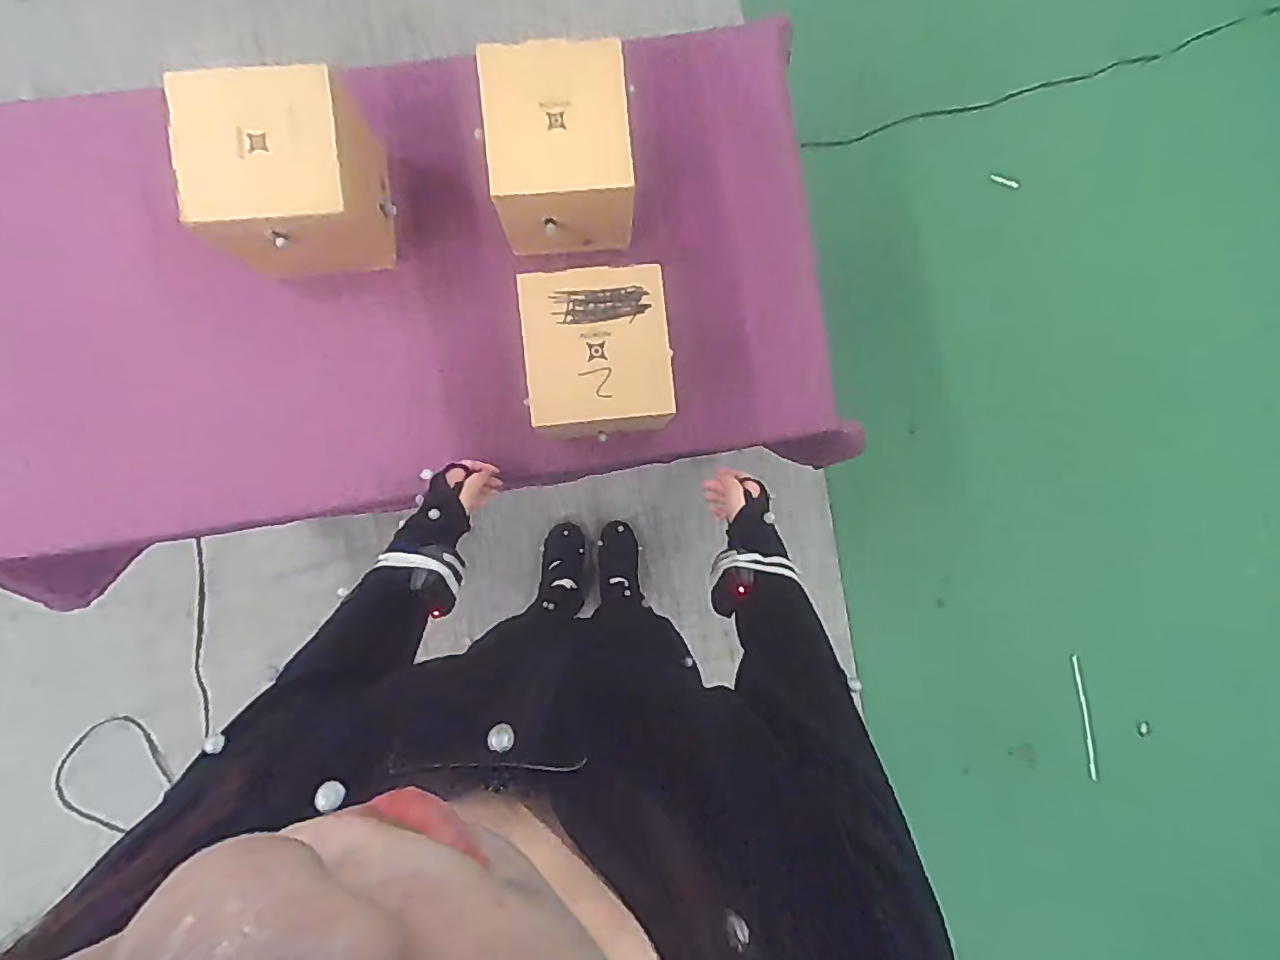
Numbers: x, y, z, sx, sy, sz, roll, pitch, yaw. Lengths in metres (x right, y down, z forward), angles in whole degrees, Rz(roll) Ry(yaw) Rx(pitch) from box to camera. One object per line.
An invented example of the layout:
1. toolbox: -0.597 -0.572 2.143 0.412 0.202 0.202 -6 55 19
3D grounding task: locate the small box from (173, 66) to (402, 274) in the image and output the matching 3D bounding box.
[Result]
1. small box: -0.422 -0.369 0.674 0.179 0.176 0.168 -5 90 -4

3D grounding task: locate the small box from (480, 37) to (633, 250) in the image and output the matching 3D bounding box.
1. small box: -0.096 -0.411 0.692 0.168 0.176 0.179 -5 89 -3
